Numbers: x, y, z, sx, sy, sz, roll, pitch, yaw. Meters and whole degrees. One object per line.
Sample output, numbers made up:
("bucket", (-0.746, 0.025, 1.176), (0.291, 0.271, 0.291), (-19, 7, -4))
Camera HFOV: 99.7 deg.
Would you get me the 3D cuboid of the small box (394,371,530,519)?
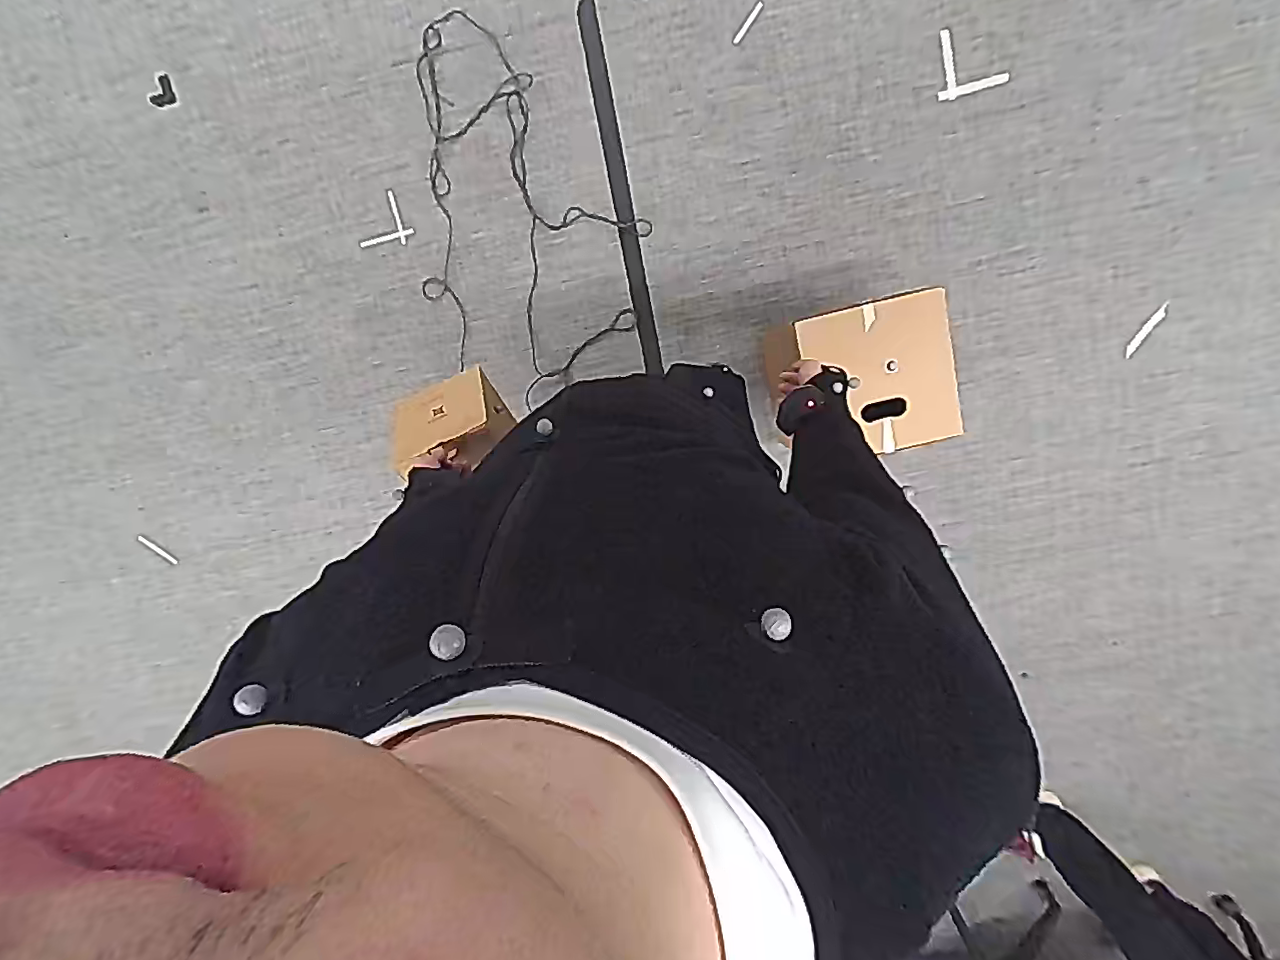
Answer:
("small box", (-0.309, -0.054, 0.956), (0.168, 0.179, 0.176), (-24, 136, 1))
